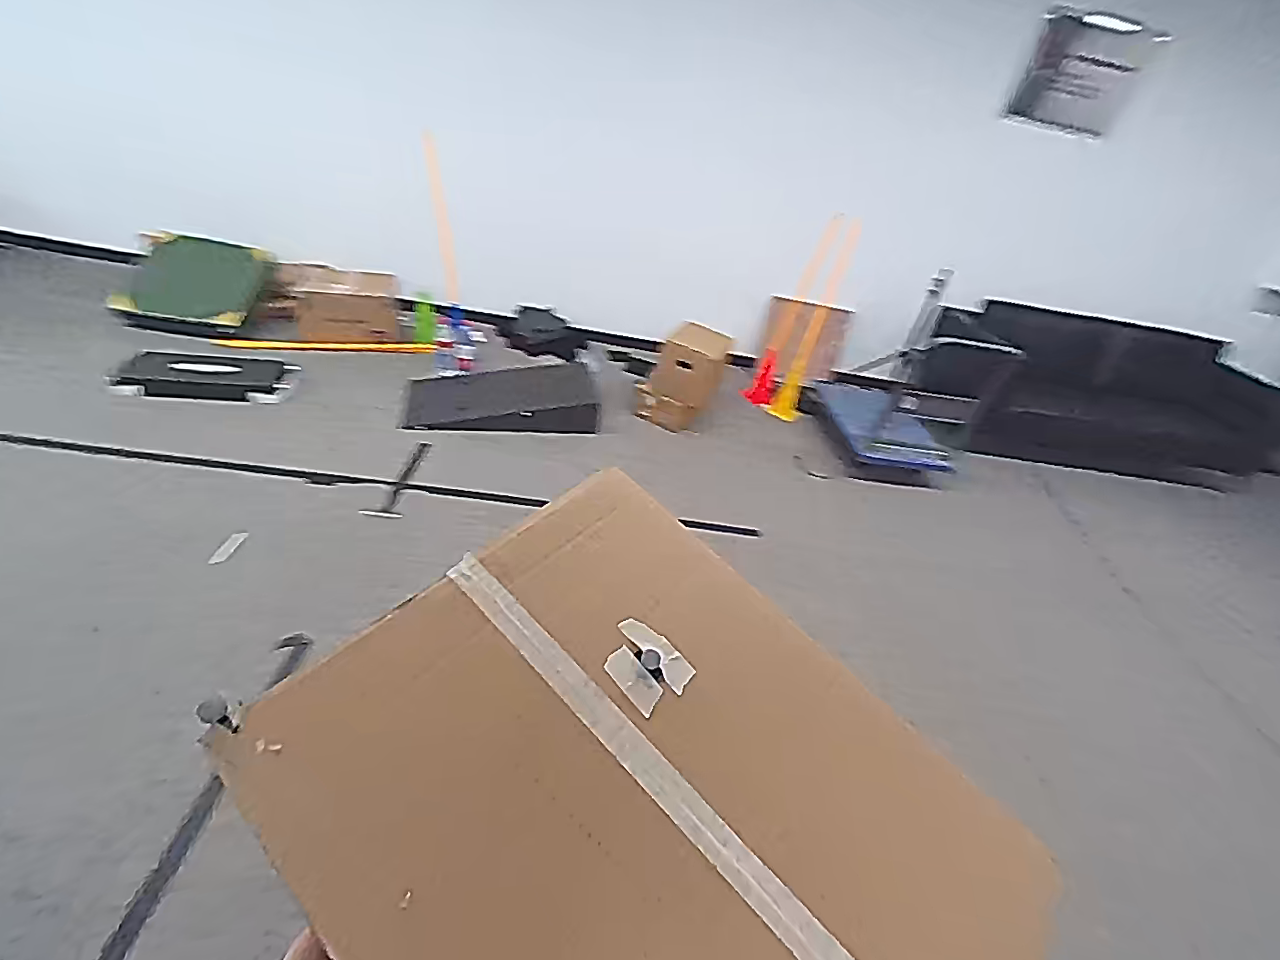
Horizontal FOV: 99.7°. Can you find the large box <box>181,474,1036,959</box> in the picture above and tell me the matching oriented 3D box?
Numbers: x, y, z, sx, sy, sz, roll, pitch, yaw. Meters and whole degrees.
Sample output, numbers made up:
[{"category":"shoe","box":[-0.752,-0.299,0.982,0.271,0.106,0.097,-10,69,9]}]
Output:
[{"category":"large box","box":[-0.023,0.279,0.417,0.408,0.320,0.320,40,50,17]}]
